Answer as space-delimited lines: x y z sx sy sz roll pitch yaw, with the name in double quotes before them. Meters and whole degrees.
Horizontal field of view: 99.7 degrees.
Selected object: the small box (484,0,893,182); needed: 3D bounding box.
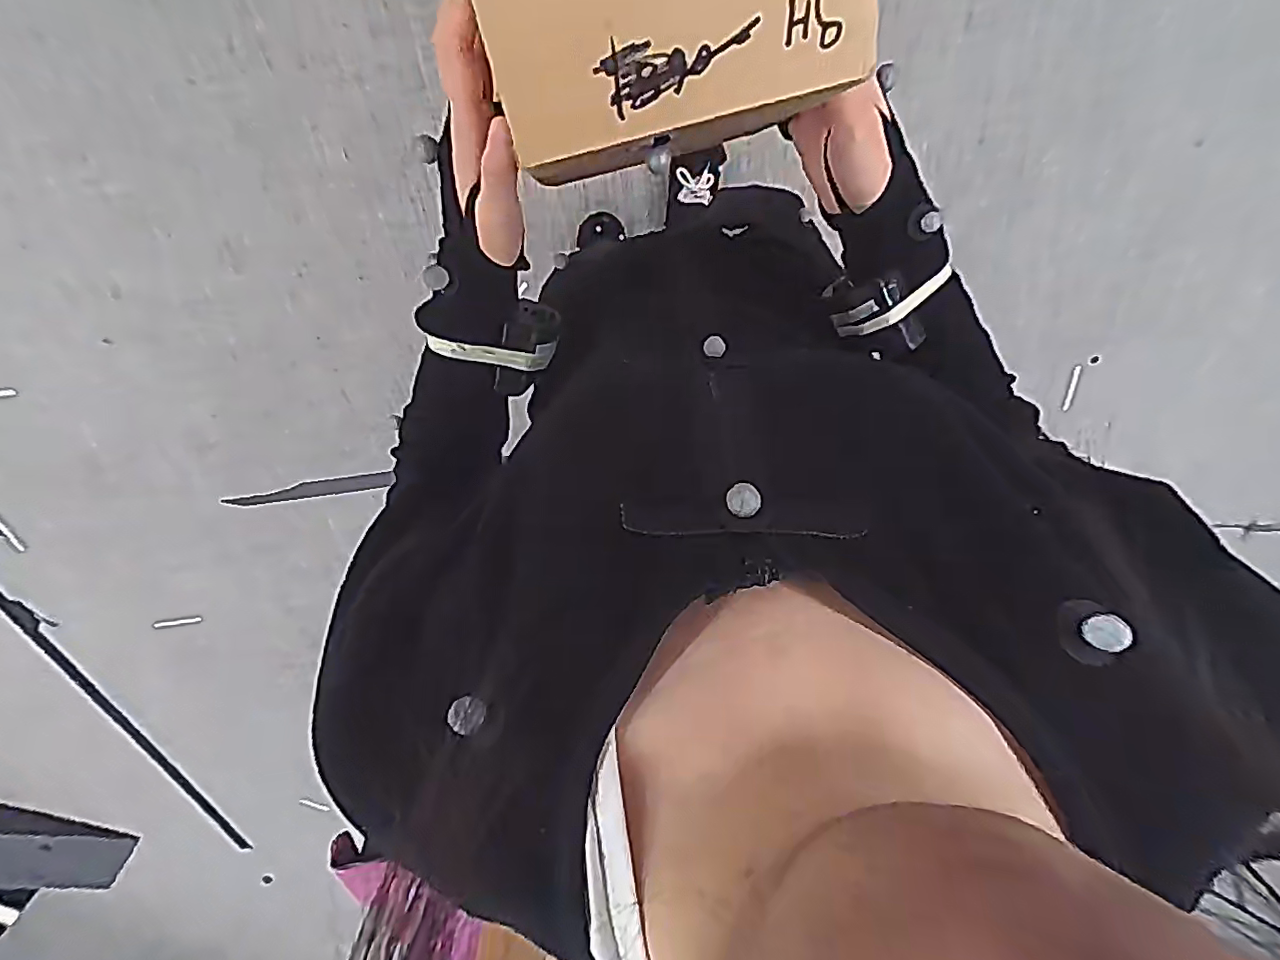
"small box" 0.004 -0.267 0.269 0.168 0.176 0.179 -14 116 2
